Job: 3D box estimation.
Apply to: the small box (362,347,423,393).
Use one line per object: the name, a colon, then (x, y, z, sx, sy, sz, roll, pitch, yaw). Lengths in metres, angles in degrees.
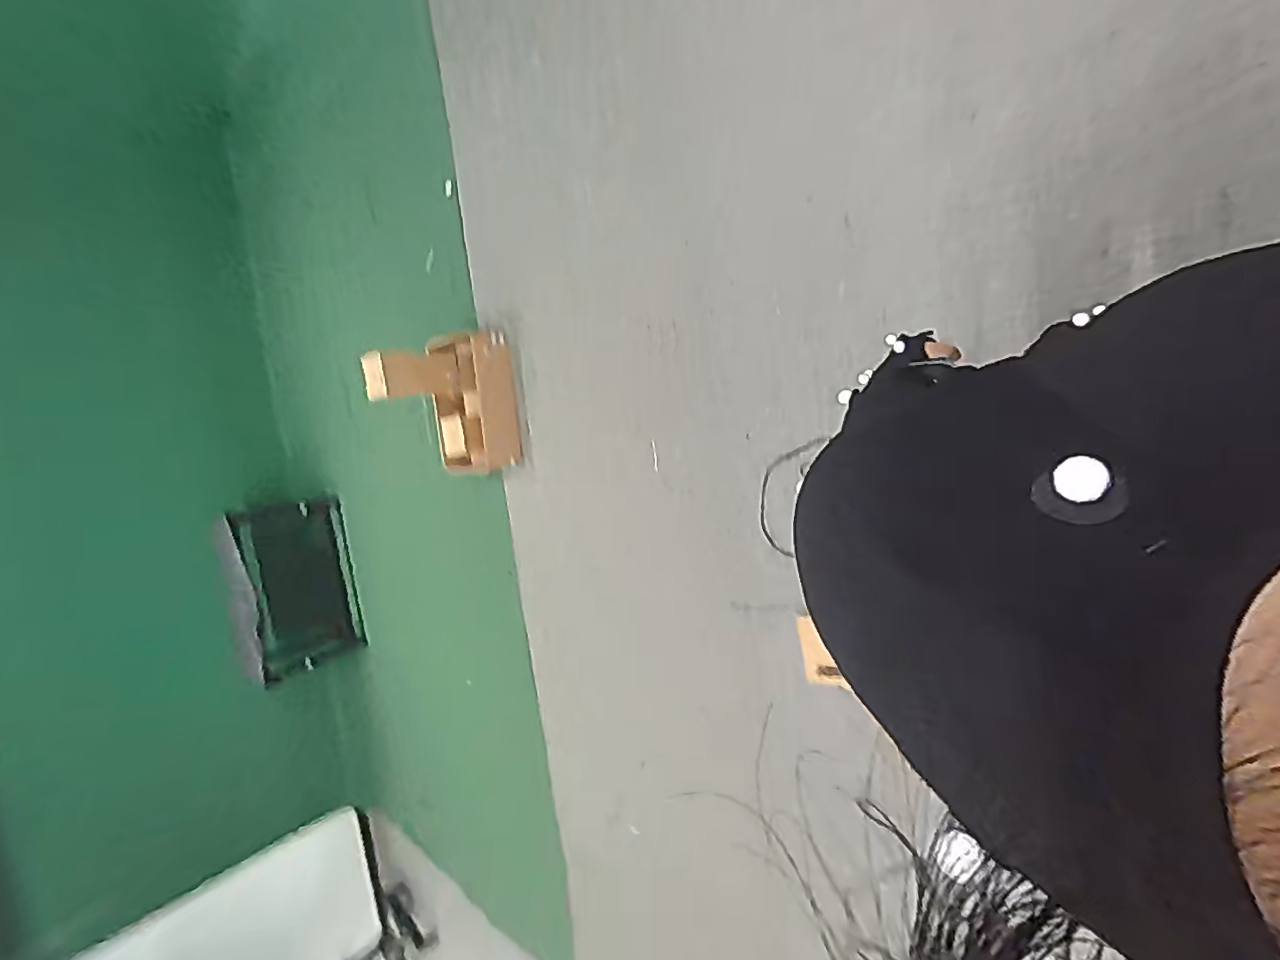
small box: (-1.025, -0.454, 2.244, 0.179, 0.176, 0.168, 0, 100, 42)

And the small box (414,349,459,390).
small box: (-0.920, -0.481, 2.367, 0.179, 0.176, 0.168, 3, 102, 39)

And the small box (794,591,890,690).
small box: (0.507, 0.392, 1.347, 0.168, 0.176, 0.179, -7, 94, 42)

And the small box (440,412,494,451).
small box: (-0.814, -0.230, 2.546, 0.179, 0.176, 0.168, -4, 95, 41)
